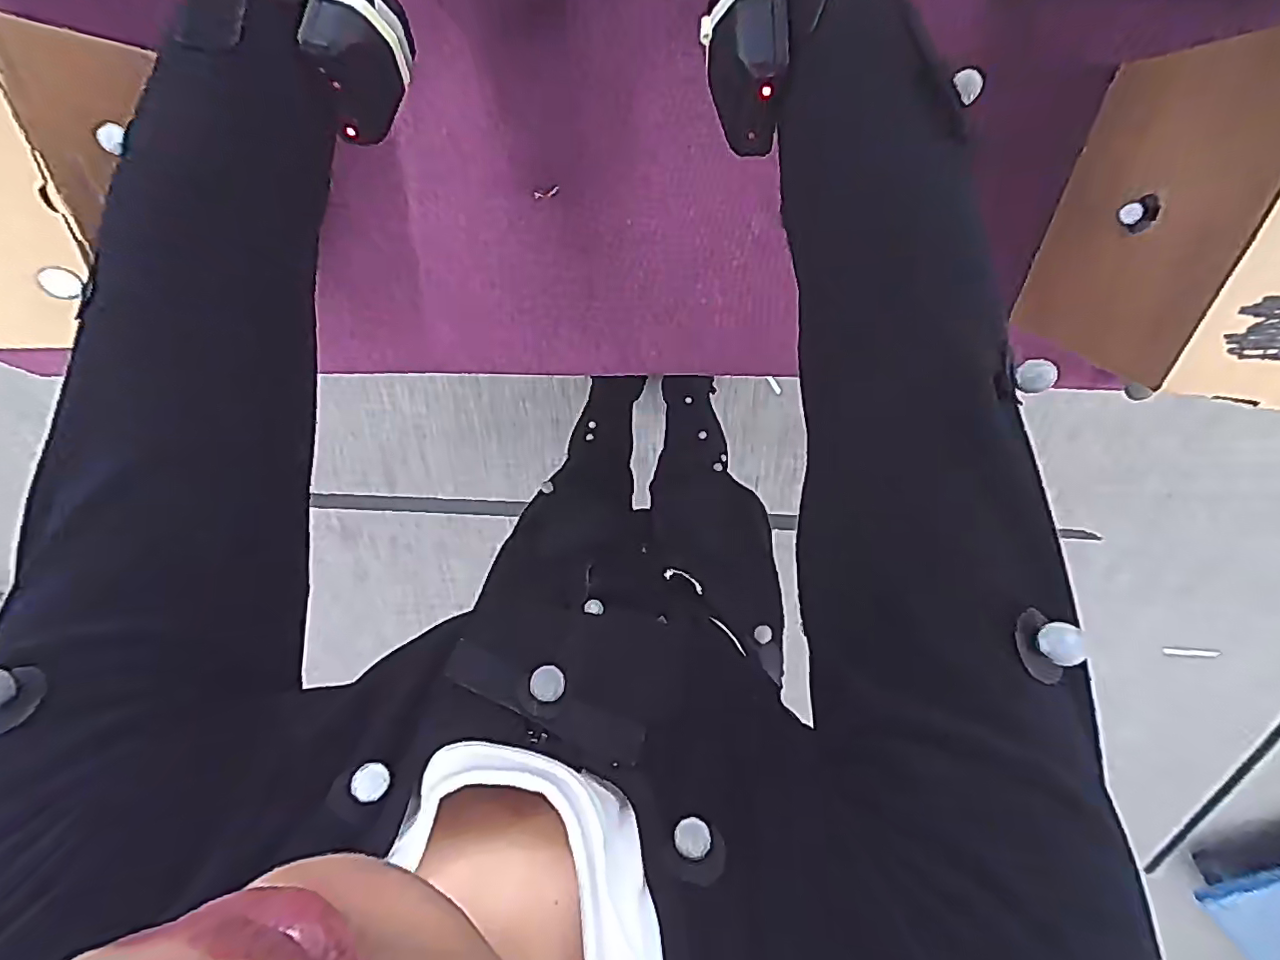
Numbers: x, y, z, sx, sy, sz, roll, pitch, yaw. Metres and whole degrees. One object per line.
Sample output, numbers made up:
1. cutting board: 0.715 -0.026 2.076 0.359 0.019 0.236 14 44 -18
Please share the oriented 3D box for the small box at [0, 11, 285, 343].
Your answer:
1. small box: -0.401 -0.195 0.374 0.179 0.176 0.168 -1 118 3
